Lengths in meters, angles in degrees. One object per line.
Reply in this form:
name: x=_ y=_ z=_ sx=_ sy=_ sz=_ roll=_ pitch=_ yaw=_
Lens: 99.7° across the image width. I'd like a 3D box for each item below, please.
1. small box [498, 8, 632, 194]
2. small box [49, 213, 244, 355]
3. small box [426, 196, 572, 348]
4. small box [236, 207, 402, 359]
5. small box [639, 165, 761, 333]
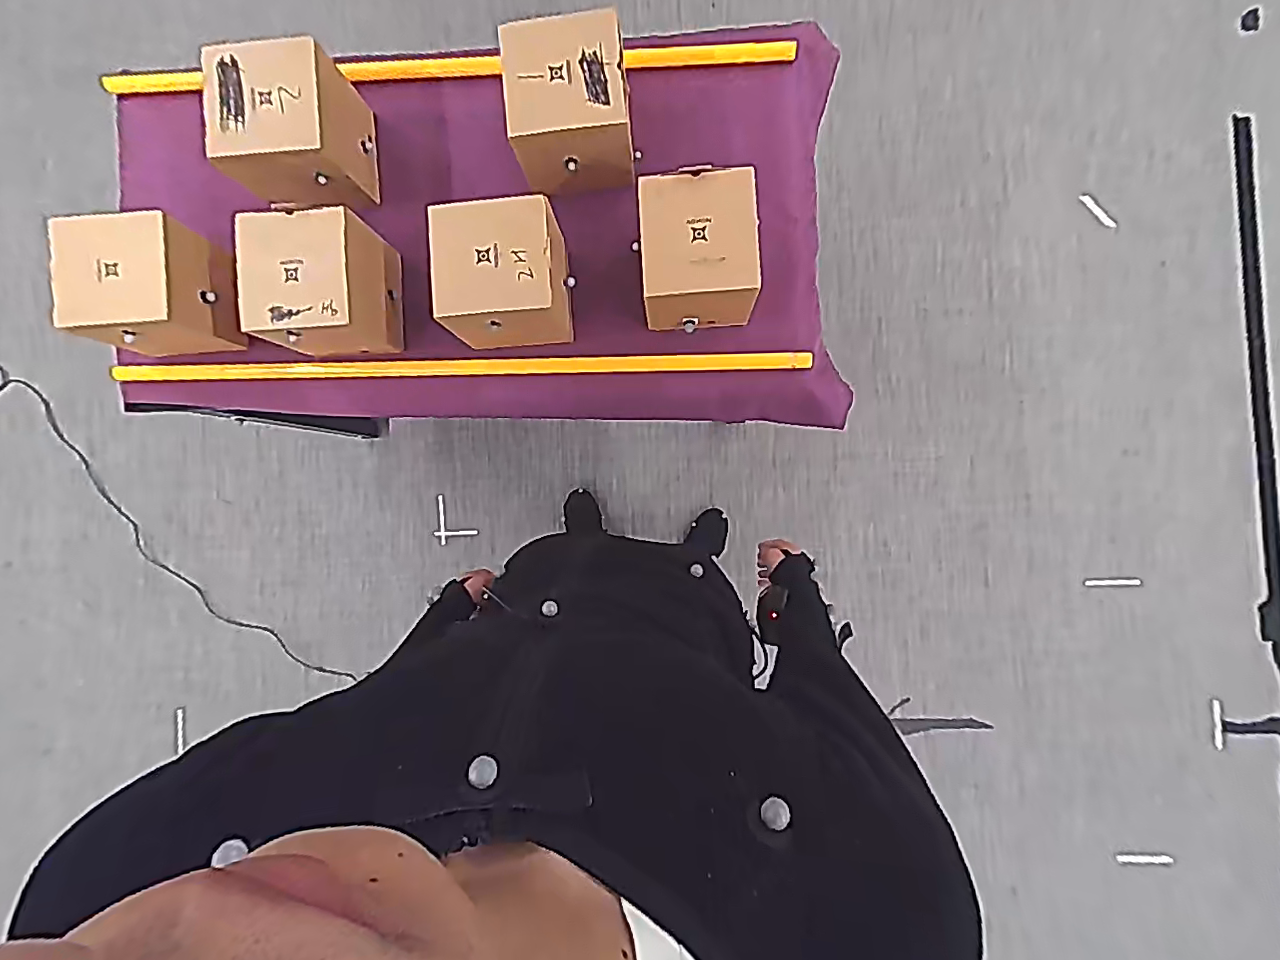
small box: x=-0.105 y=-0.573 z=0.839 sx=0.179 sy=0.176 sz=0.168 roll=-5 pitch=90 yaw=4
small box: x=-0.777 y=-0.305 z=0.873 sx=0.179 sy=0.176 sz=0.168 roll=-4 pitch=89 yaw=2
small box: x=-0.210 y=-0.311 z=0.841 sx=0.179 sy=0.176 sz=0.168 roll=-3 pitch=88 yaw=3
small box: x=-0.496 y=-0.302 z=0.857 sx=0.168 sy=0.176 sz=0.179 roll=-2 pitch=89 yaw=4
small box: x=0.086 y=-0.341 z=0.825 sx=0.168 sy=0.176 sz=0.179 roll=-3 pitch=87 yaw=5
